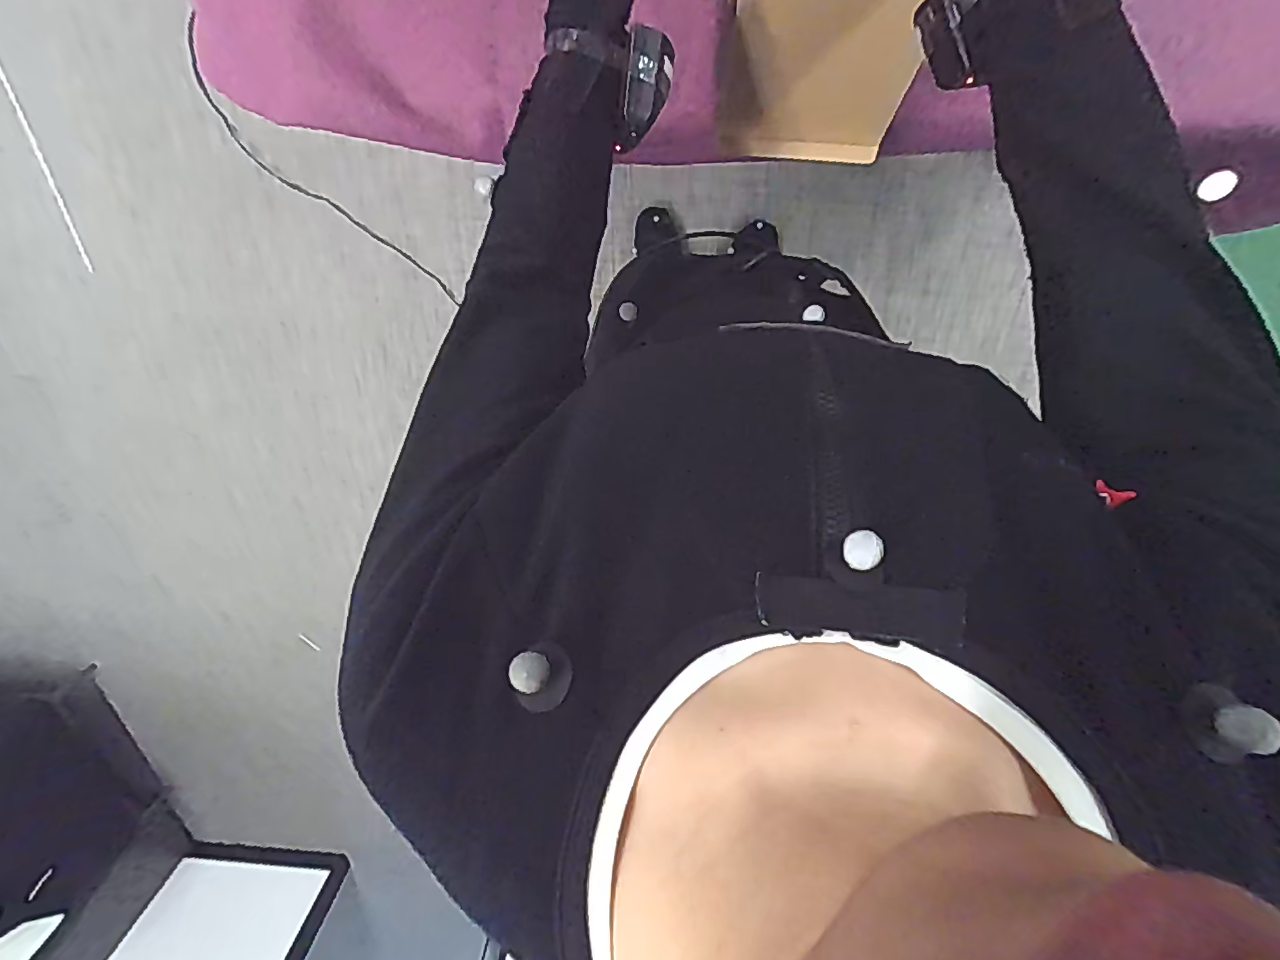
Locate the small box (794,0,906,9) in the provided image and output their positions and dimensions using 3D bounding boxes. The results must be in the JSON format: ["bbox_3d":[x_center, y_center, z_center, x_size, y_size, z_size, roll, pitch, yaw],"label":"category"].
[{"bbox_3d":[0.167,-0.487,0.403,0.168,0.176,0.179,5,117,2],"label":"small box"}]
